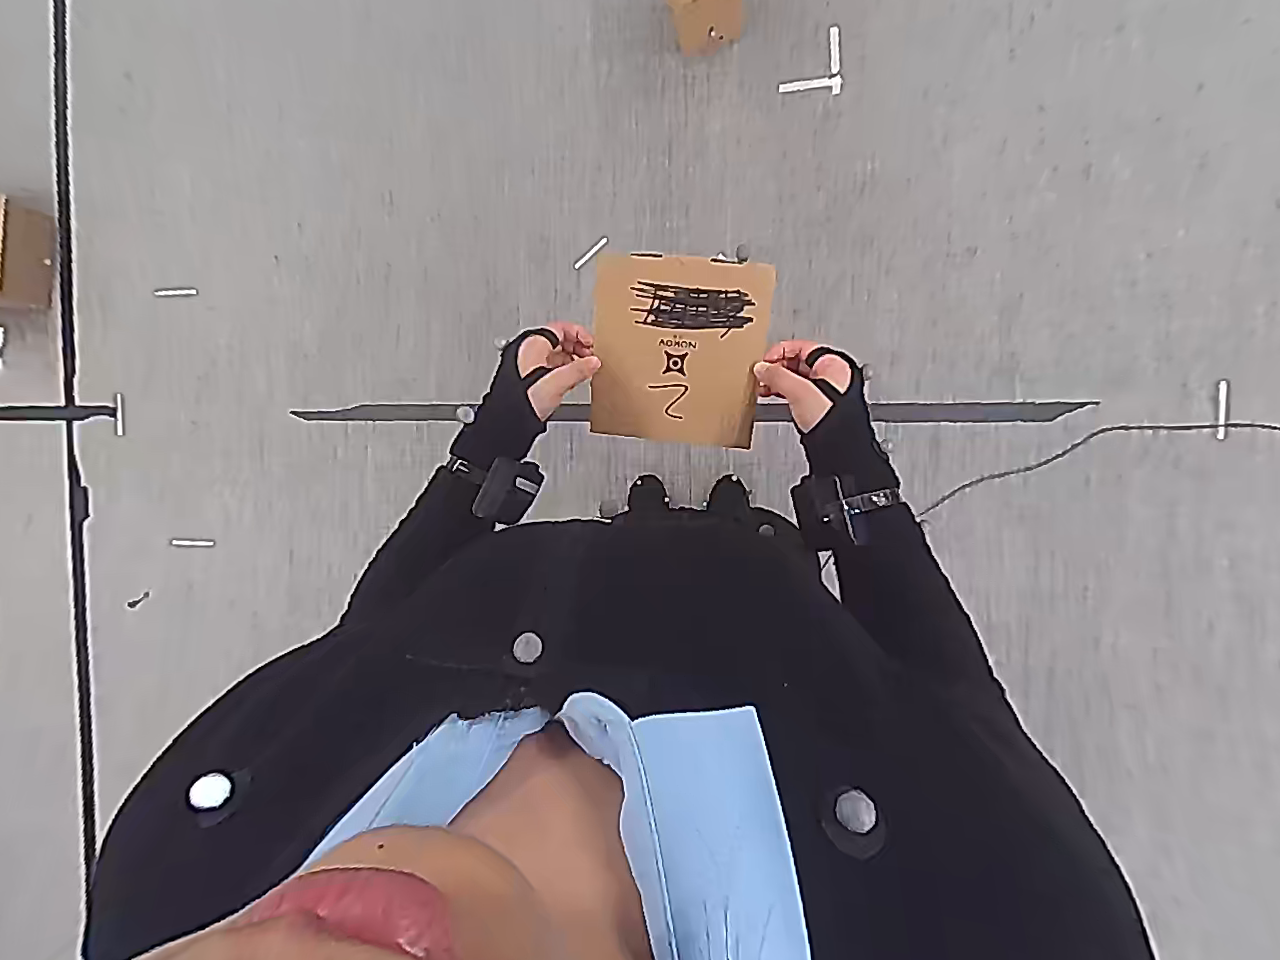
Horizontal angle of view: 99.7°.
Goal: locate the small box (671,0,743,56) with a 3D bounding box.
[{"bbox_3d":[0.164,-1.243,1.373,0.168,0.176,0.179,-12,90,9],"label":"small box"}]
